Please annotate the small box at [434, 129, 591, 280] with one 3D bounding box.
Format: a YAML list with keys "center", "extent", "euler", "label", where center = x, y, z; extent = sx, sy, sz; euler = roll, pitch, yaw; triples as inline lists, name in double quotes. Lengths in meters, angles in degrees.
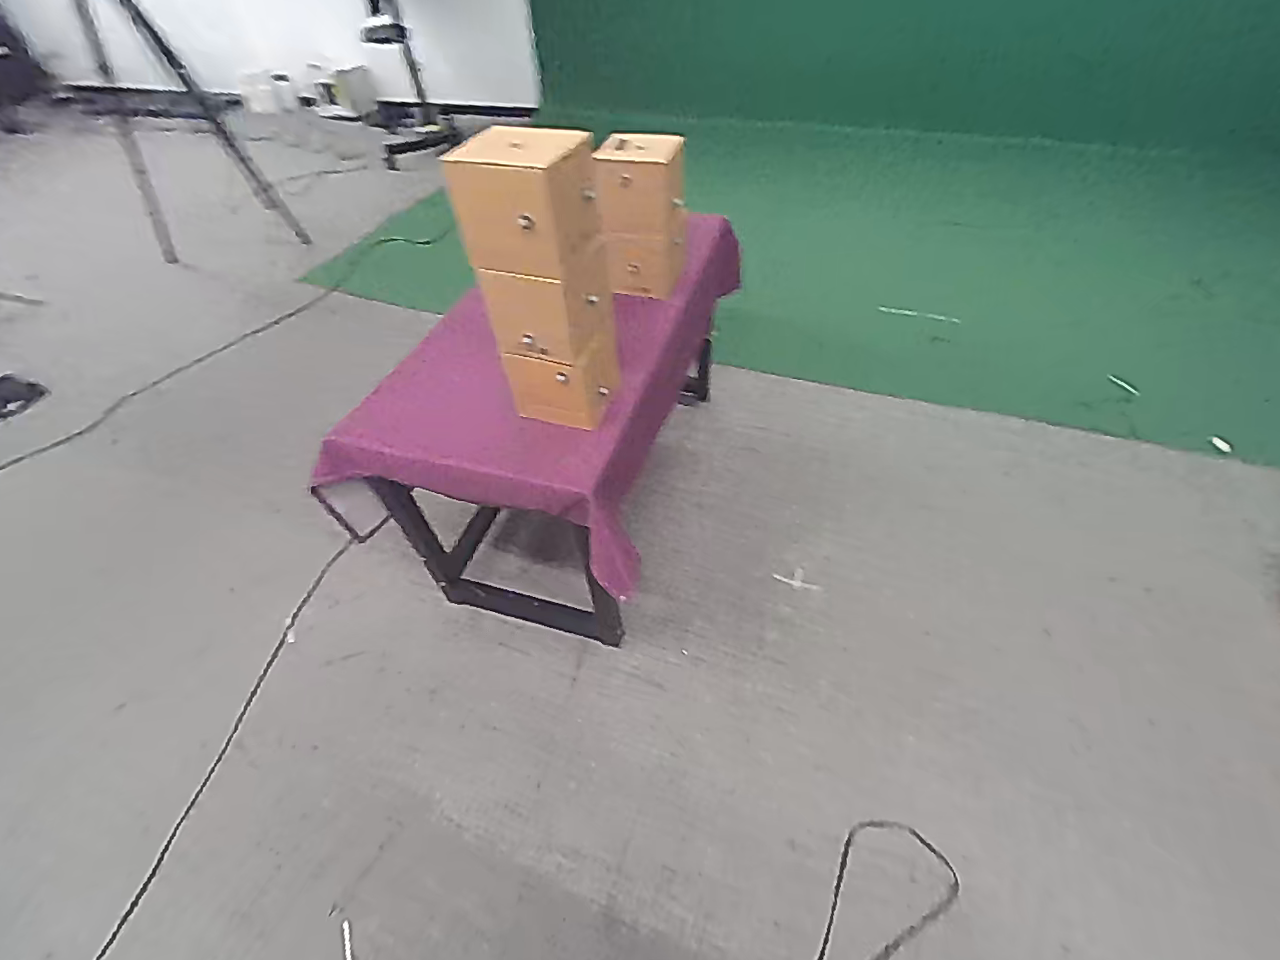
- center: [-0.193, -0.447, 0.882]
  extent: [0.179, 0.176, 0.168]
  euler: [13, 50, 15]
  label: "small box"

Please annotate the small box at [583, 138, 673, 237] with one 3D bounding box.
- center: [-0.021, -0.713, 1.321]
  extent: [0.179, 0.176, 0.168]
  euler: [11, 51, 12]
  label: "small box"

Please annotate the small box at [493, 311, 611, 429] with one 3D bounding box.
- center: [-0.173, -0.226, 1.123]
  extent: [0.179, 0.176, 0.168]
  euler: [12, 50, 14]
  label: "small box"

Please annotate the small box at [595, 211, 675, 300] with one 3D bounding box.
- center: [-0.004, -0.603, 1.442]
  extent: [0.168, 0.176, 0.179]
  euler: [13, 51, 14]
  label: "small box"
